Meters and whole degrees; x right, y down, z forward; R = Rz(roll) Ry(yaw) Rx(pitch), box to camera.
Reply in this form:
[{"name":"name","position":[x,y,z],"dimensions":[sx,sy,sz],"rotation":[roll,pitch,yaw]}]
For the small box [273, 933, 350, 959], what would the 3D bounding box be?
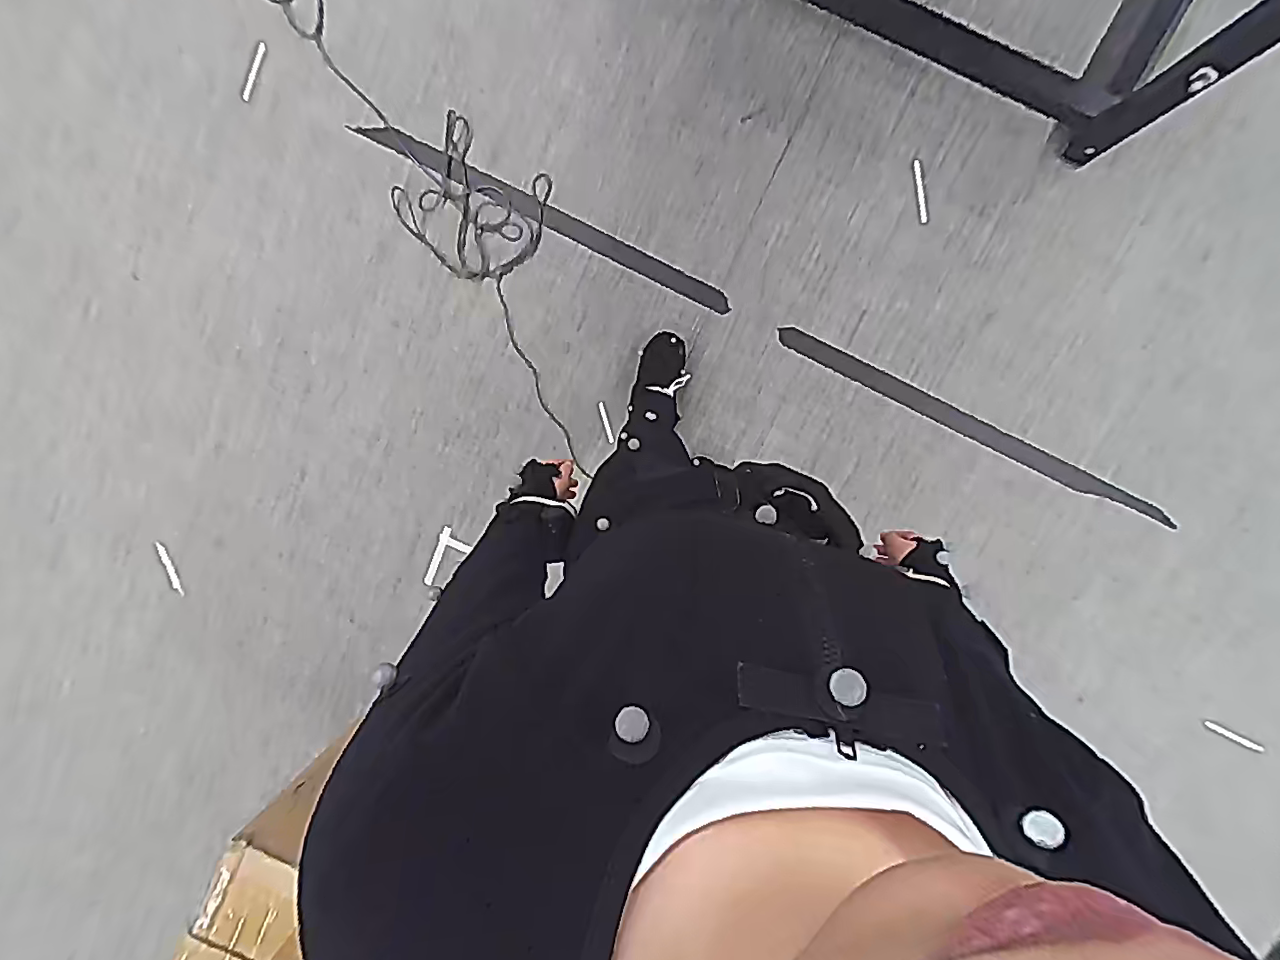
[{"name":"small box","position":[-0.539,0.862,0.832],"dimensions":[0.179,0.176,0.168],"rotation":[27,98,2]}]
